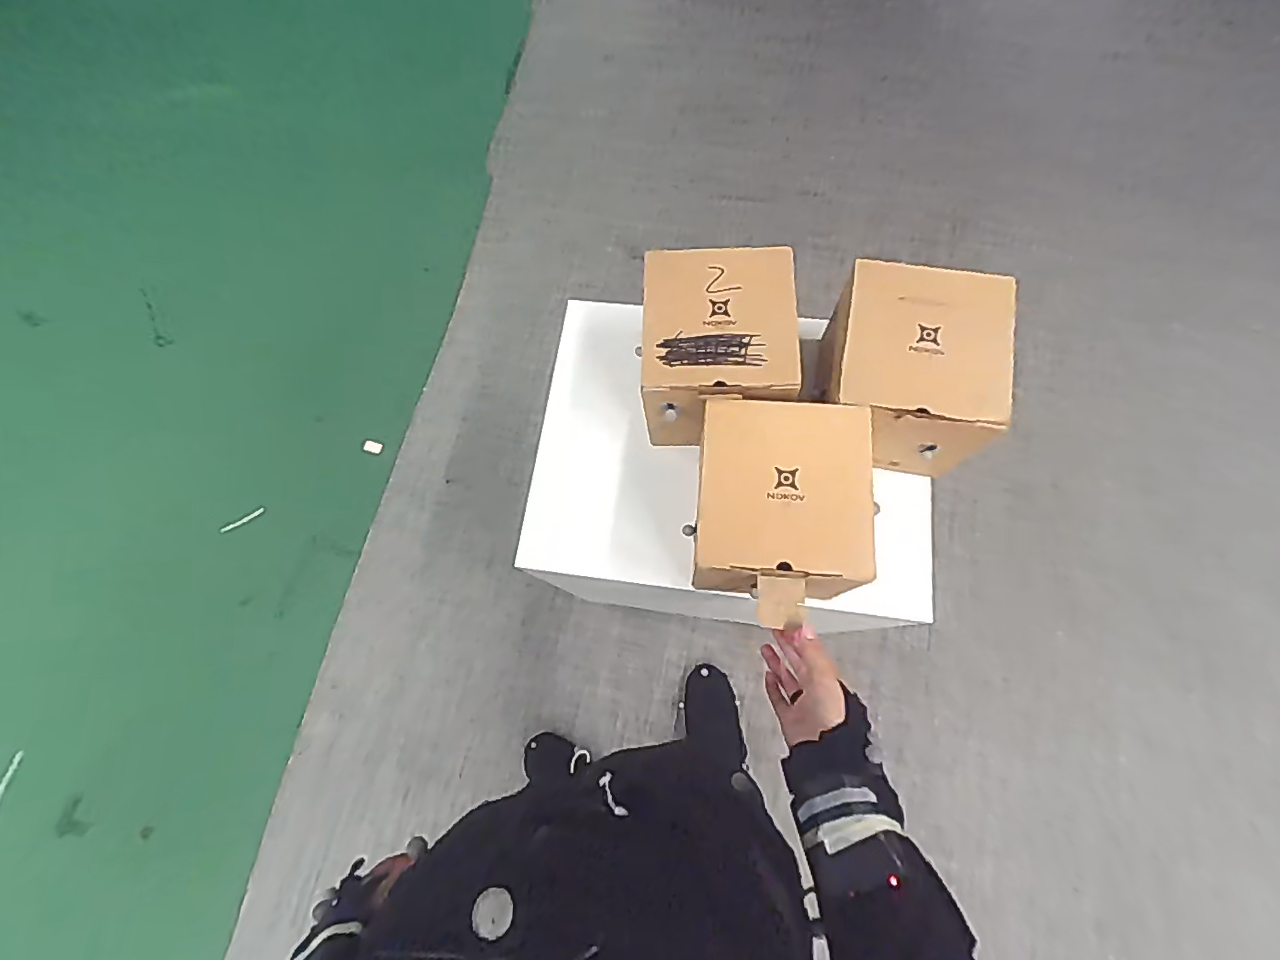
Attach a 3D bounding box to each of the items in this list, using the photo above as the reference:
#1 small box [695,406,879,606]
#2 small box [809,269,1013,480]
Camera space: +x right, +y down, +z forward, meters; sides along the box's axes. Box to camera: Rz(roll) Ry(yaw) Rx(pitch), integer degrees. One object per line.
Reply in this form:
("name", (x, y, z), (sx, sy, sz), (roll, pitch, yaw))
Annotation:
("small box", (0.149, 0.036, 0.599), (0.168, 0.176, 0.179), (4, 72, 6))
("small box", (0.302, -0.112, 0.633), (0.168, 0.176, 0.179), (10, 73, 7))
